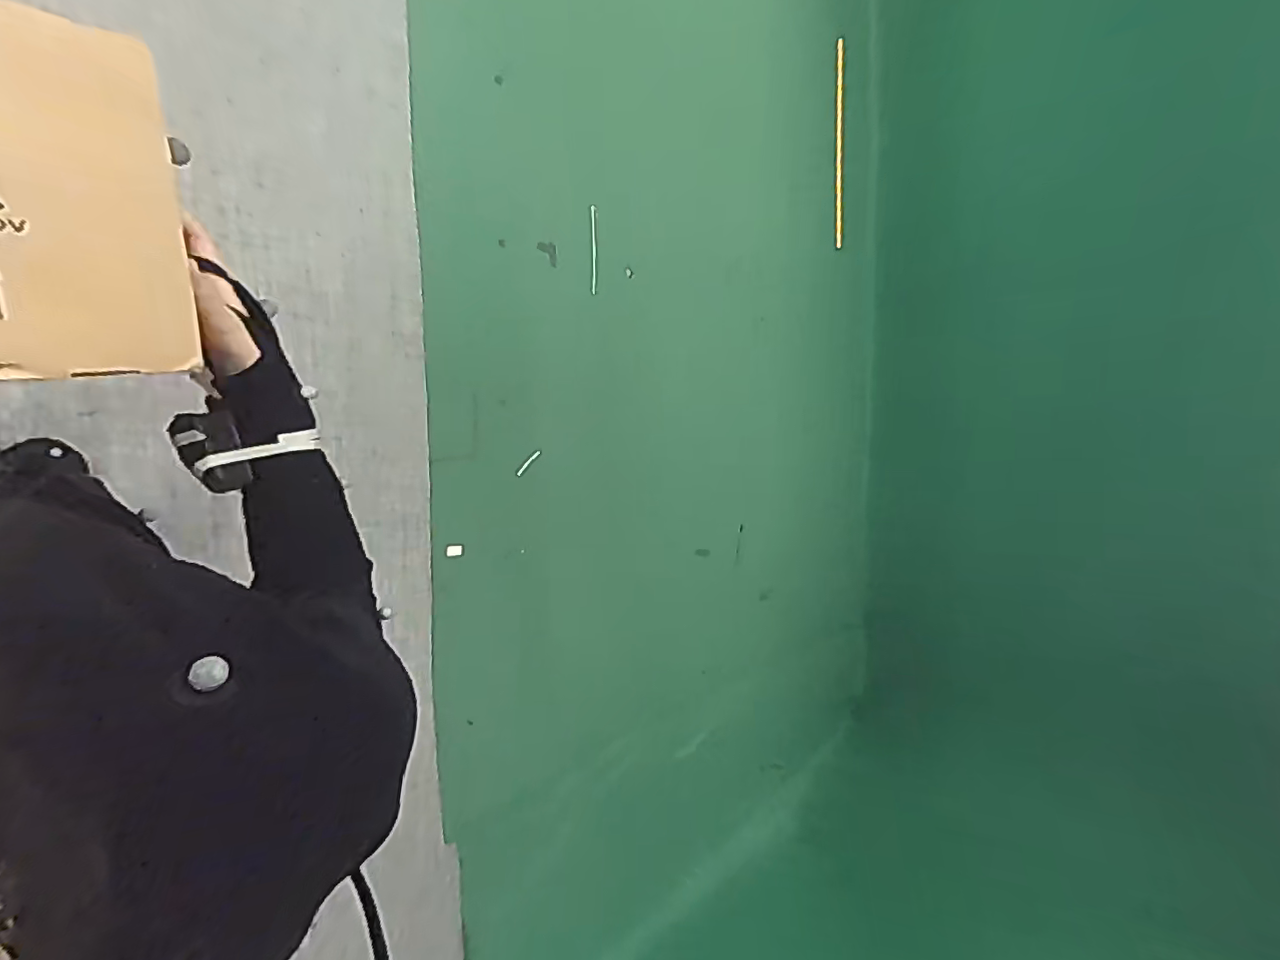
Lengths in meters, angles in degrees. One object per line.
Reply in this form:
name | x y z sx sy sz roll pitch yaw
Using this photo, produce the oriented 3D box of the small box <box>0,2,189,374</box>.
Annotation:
small box | -0.391 -0.162 0.304 0.168 0.176 0.179 -16 121 -50
